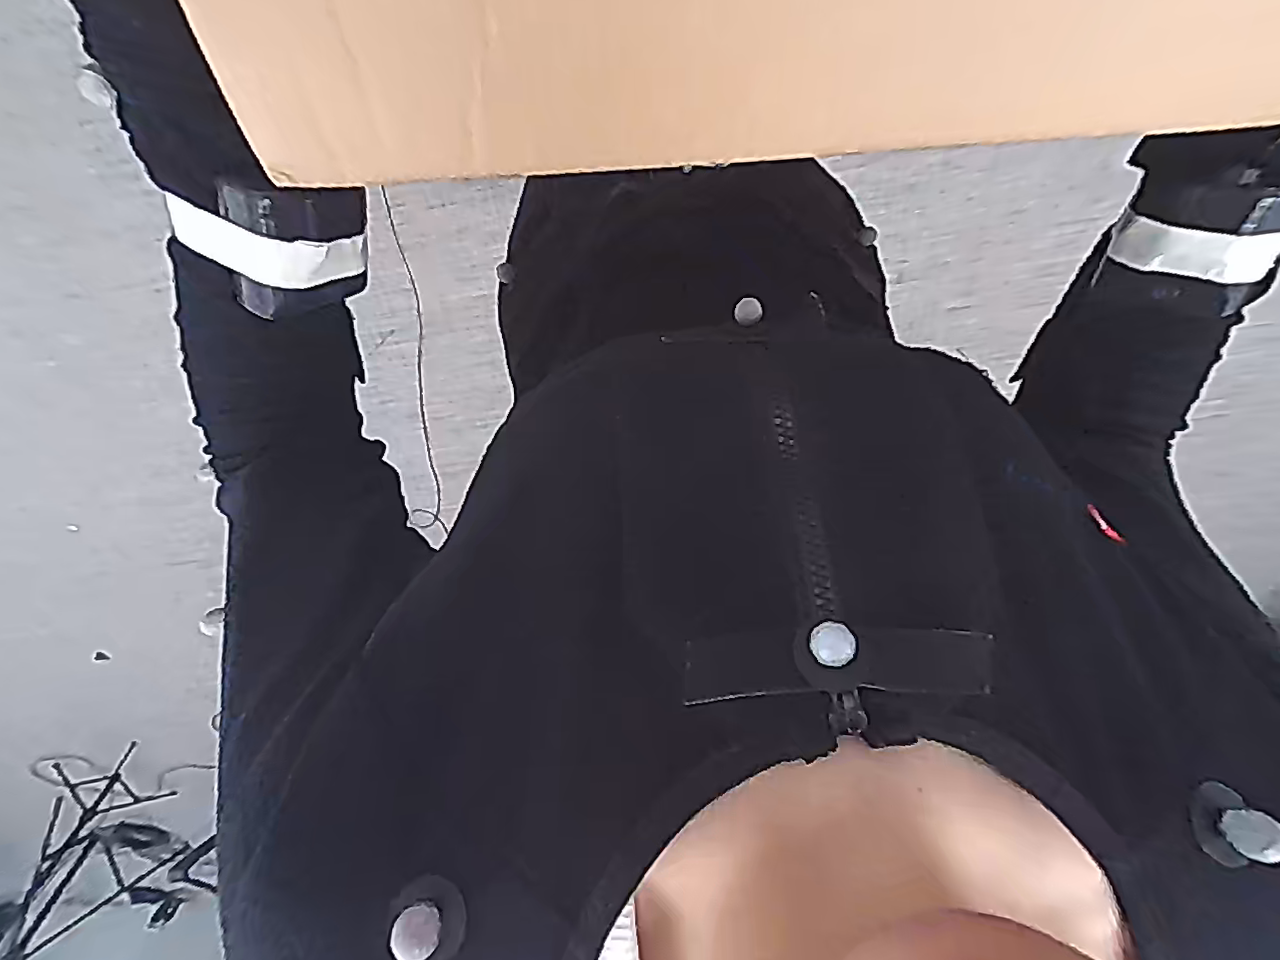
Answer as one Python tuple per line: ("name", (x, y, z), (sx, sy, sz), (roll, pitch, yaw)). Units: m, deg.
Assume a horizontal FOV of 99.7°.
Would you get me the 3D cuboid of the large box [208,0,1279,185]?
("large box", (0.040, -0.350, 0.212), (0.408, 0.320, 0.320), (-4, 136, -1))
